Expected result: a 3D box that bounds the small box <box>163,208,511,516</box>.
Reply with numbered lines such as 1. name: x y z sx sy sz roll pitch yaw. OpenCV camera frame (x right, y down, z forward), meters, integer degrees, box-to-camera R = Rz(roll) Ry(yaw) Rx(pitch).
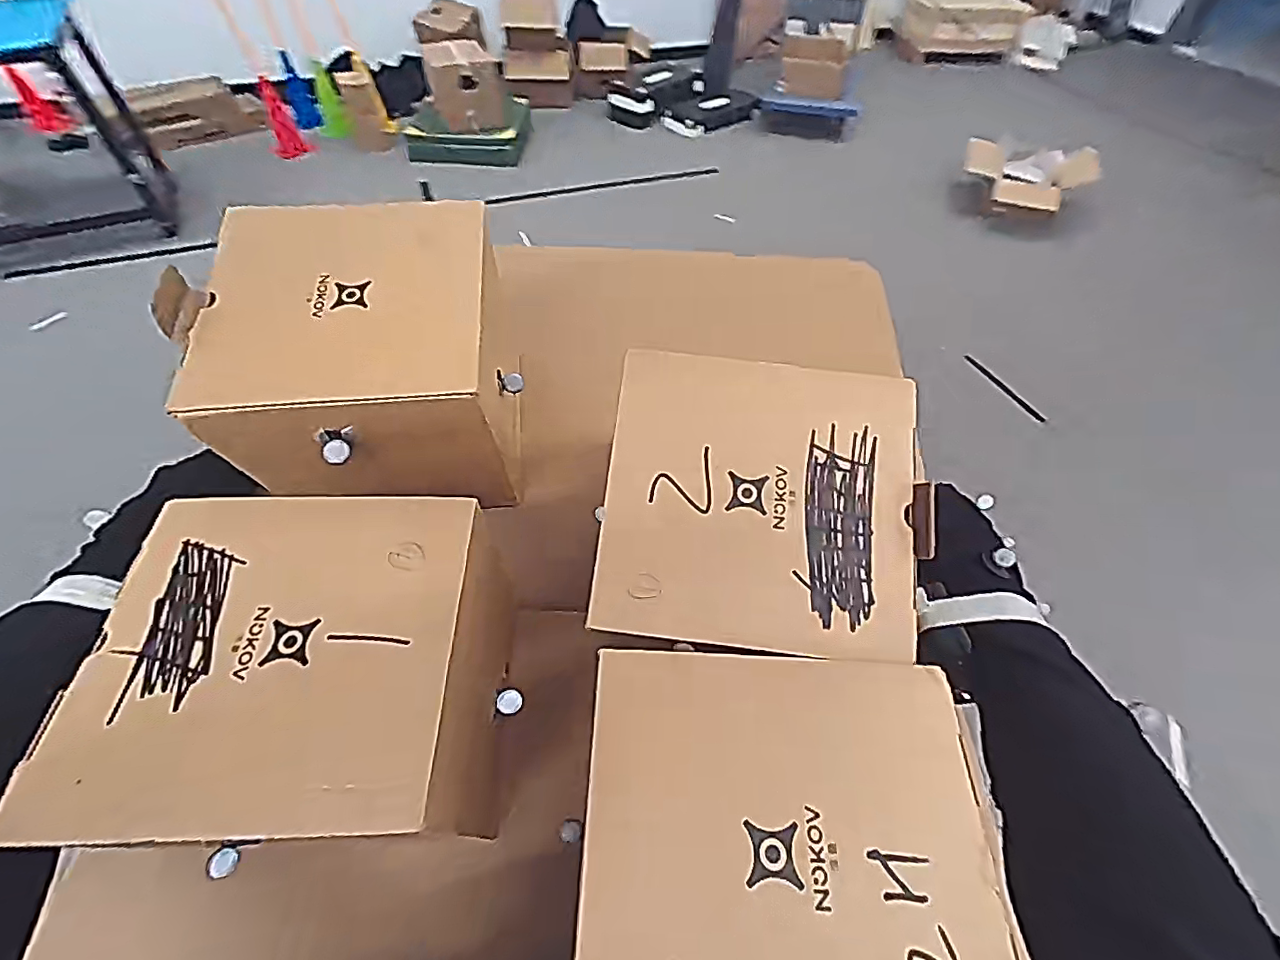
1. small box: -0.200 -0.081 0.422 0.179 0.176 0.168 -5 64 -4
